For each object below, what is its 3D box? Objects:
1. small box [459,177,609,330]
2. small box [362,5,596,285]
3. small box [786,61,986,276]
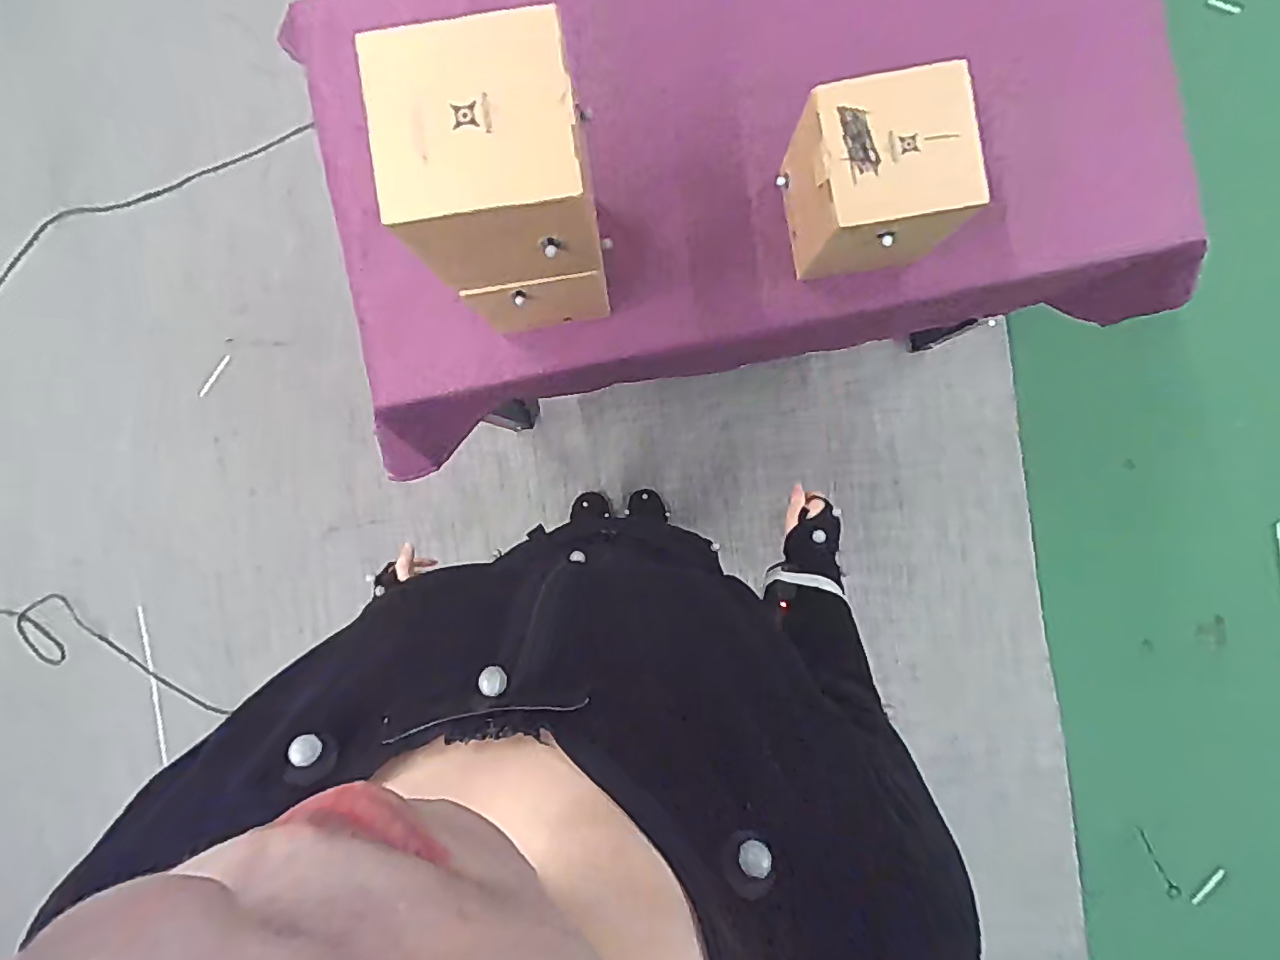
[{"bbox_3d":[-0.136,-0.312,0.701,0.168,0.176,0.179,-8,90,2],"label":"small box"},{"bbox_3d":[-0.140,-0.310,0.537,0.179,0.176,0.168,-7,90,2],"label":"small box"},{"bbox_3d":[0.295,-0.377,0.689,0.179,0.176,0.168,-9,91,1],"label":"small box"}]
